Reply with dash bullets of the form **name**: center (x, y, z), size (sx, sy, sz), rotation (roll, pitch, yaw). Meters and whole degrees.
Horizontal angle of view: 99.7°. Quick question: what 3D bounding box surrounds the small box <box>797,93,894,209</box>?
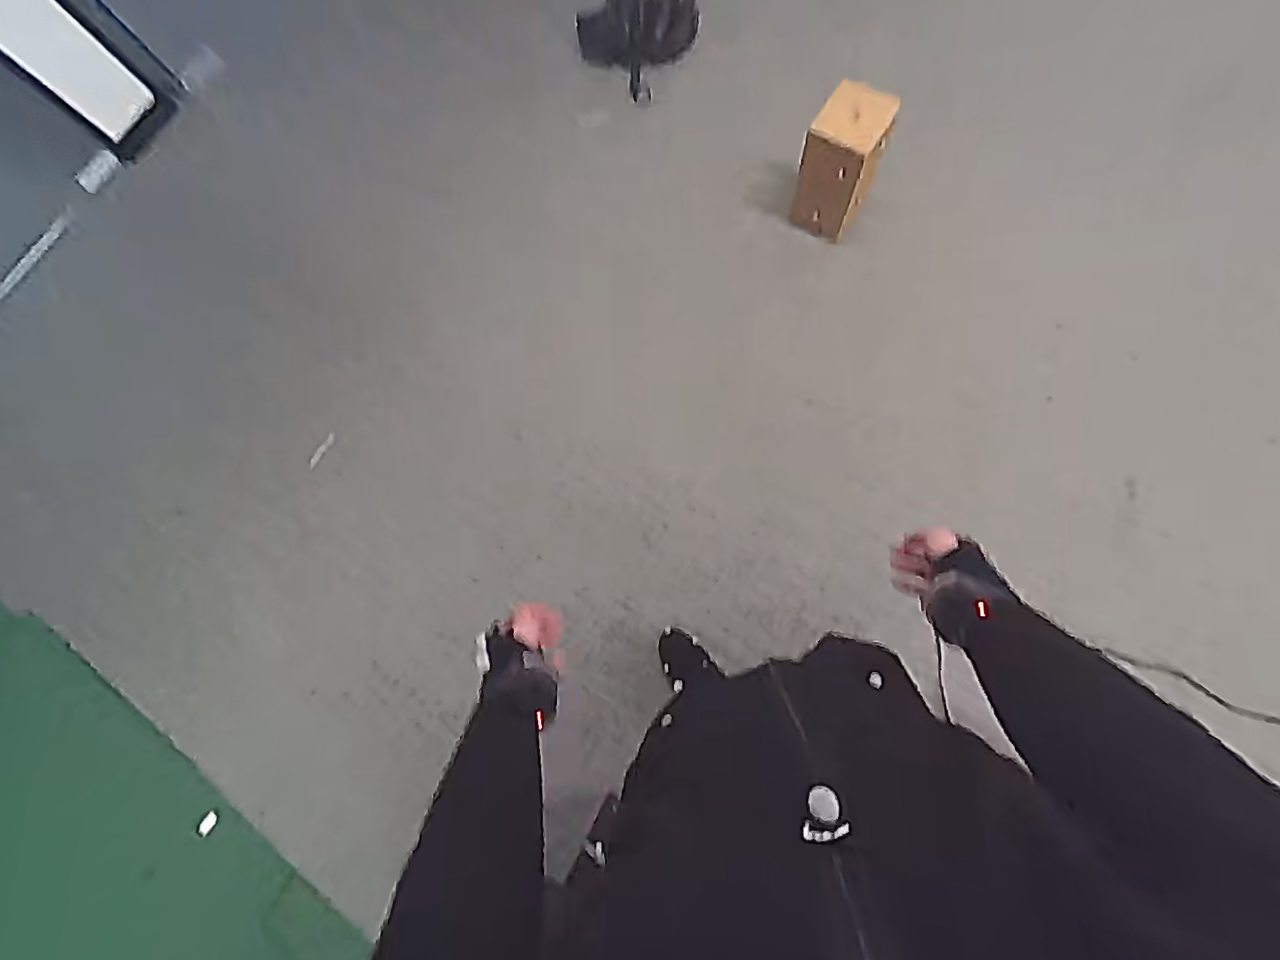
- **small box**: center (0.536, -0.870, 1.443), size (0.168, 0.176, 0.179), rotation (32, 80, 12)

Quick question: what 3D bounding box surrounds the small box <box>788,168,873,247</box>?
- **small box**: center (0.555, -0.830, 1.600), size (0.168, 0.176, 0.179), rotation (32, 82, 13)
